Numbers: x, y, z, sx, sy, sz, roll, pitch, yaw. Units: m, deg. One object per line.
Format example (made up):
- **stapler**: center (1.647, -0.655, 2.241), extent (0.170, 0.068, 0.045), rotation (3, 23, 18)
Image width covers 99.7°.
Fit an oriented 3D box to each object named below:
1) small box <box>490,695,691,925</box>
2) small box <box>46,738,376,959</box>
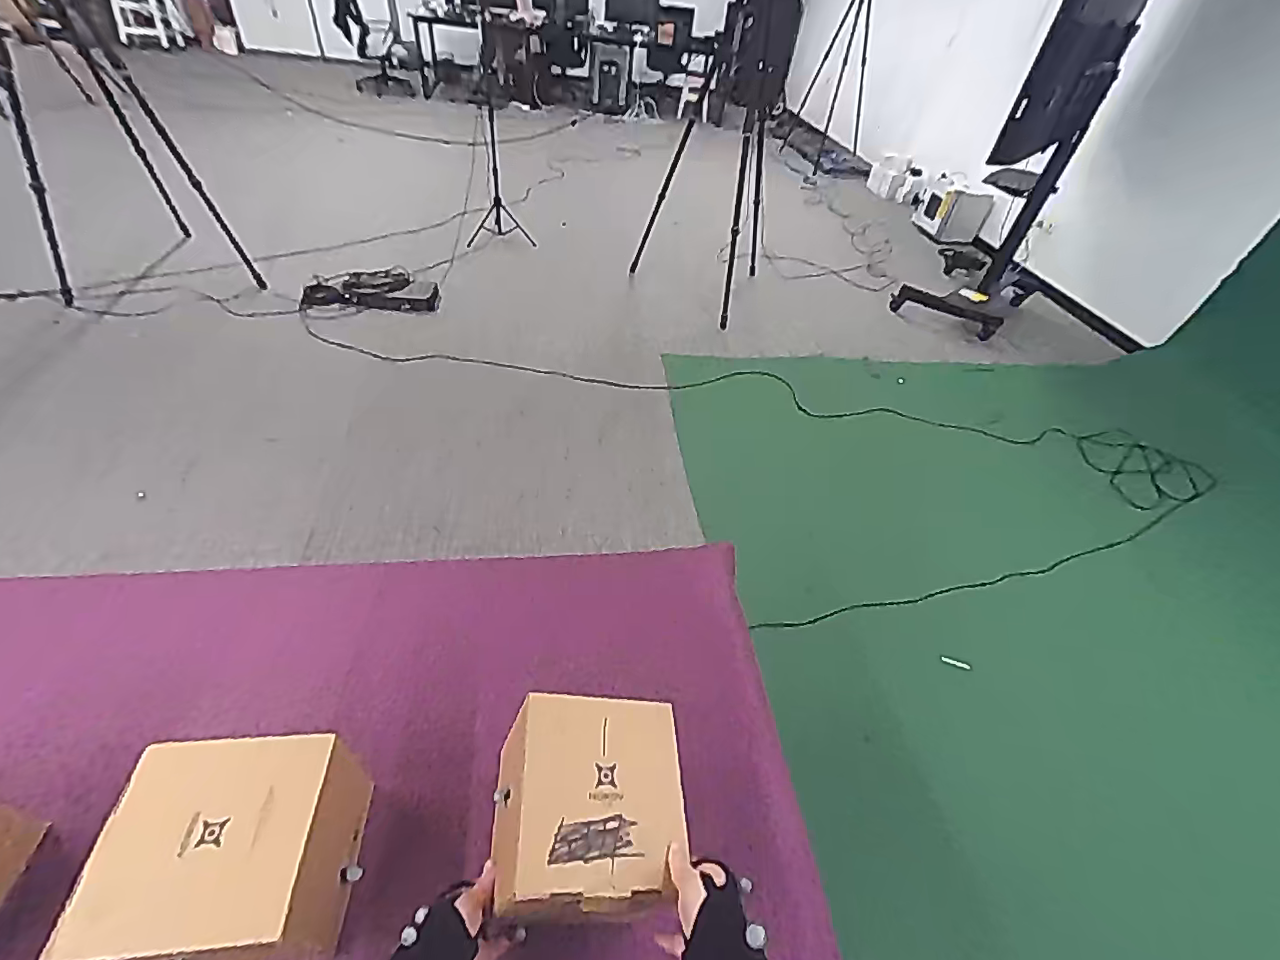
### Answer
- **small box**: center (-0.060, 0.357, 0.580), extent (0.168, 0.176, 0.179), rotation (11, 41, -16)
- **small box**: center (-0.392, 0.379, 0.541), extent (0.179, 0.176, 0.168), rotation (0, 45, -8)
